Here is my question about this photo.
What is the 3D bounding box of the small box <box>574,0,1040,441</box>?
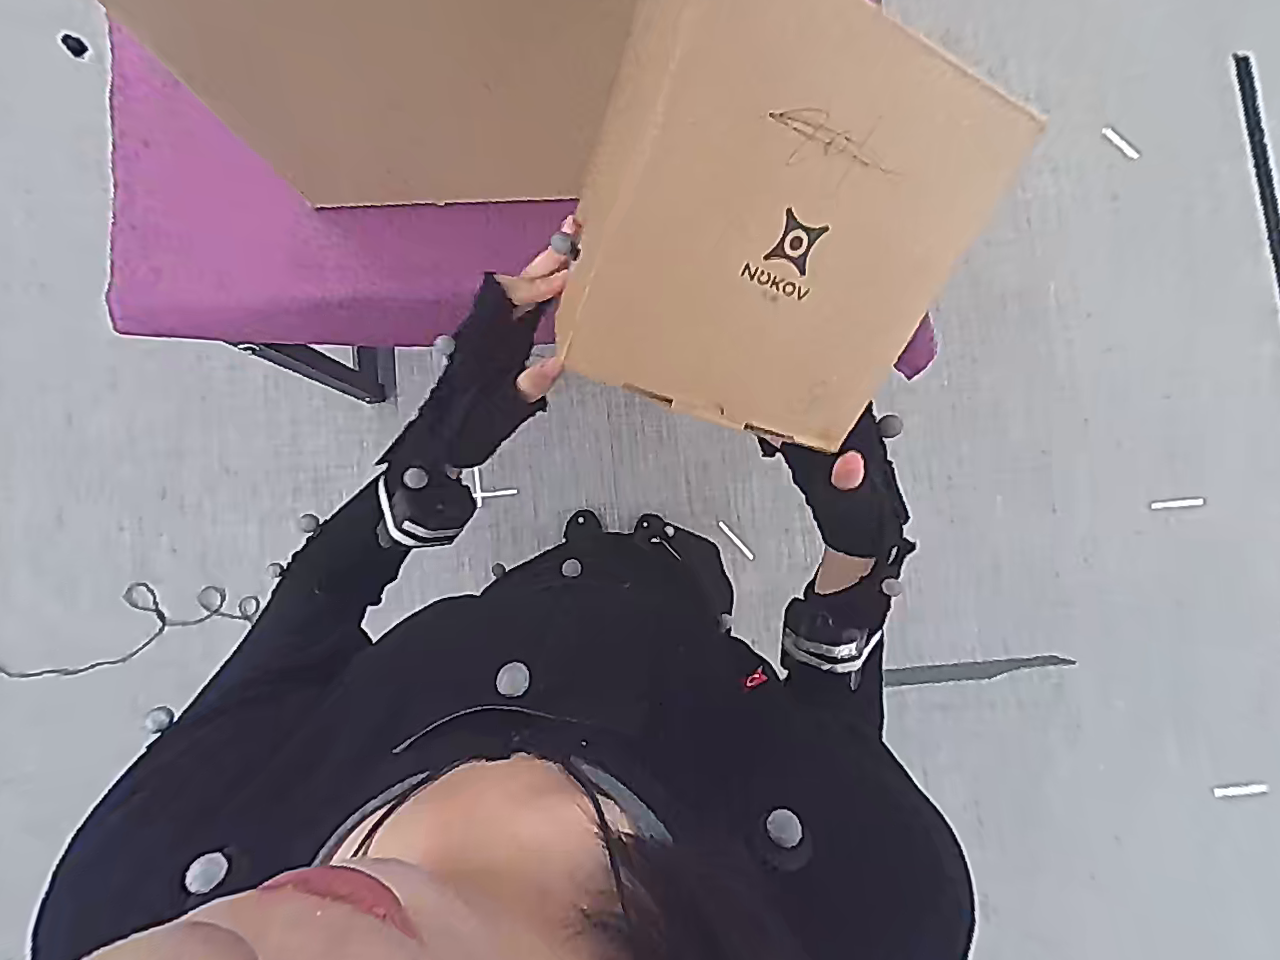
[{"bbox_3d":[0.064,-0.153,0.321,0.168,0.176,0.179,15,115,-19],"label":"small box"}]
